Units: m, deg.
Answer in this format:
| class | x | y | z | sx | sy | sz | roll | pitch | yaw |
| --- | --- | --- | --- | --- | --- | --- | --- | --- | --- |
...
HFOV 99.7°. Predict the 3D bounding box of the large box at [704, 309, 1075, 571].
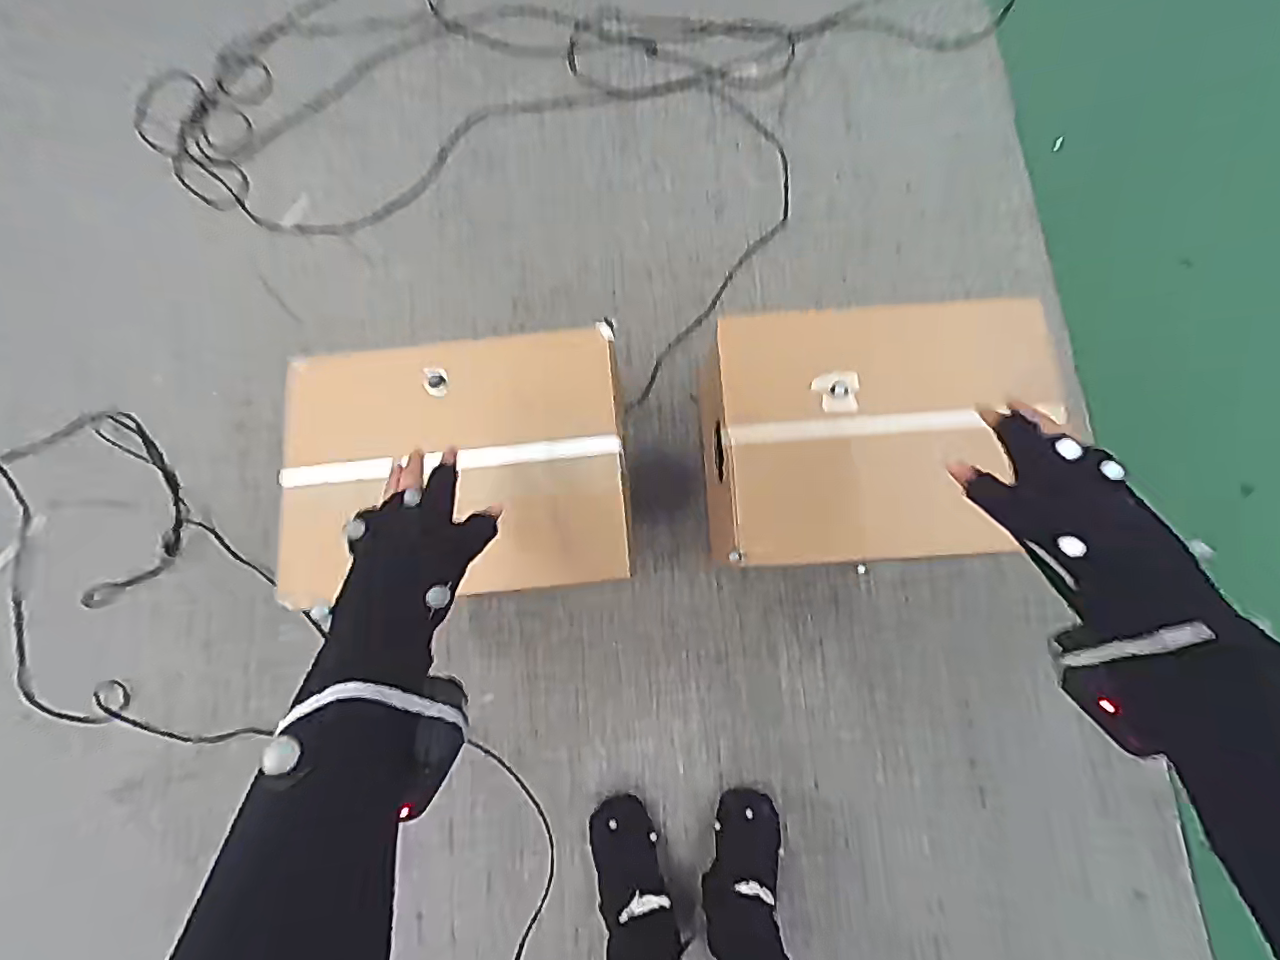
| class | x | y | z | sx | sy | sz | roll | pitch | yaw |
| --- | --- | --- | --- | --- | --- | --- | --- | --- | --- |
| large box | 0.317 | -0.032 | 0.813 | 0.408 | 0.320 | 0.320 | -3 | 80 | 1 |
